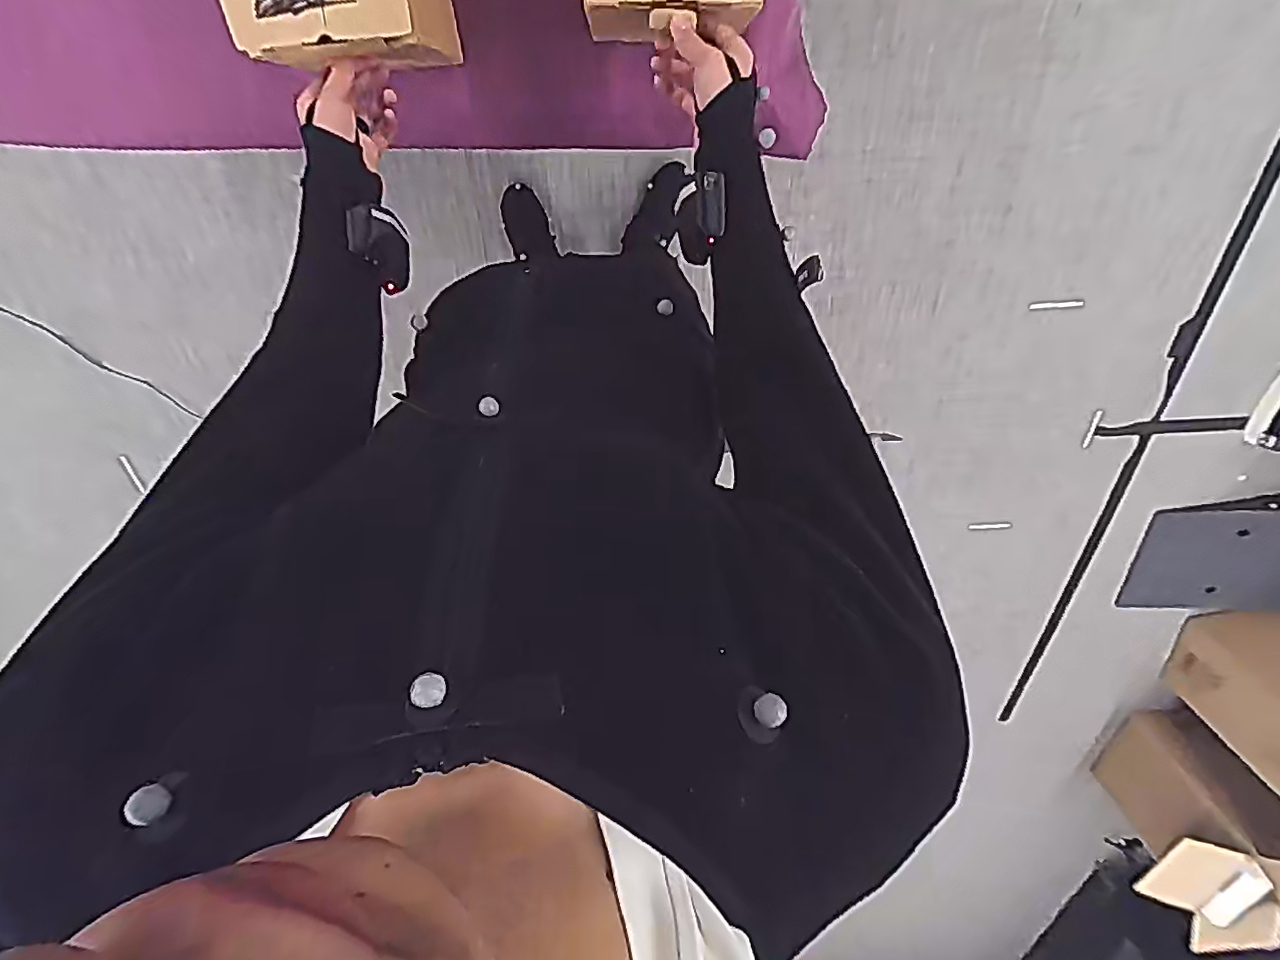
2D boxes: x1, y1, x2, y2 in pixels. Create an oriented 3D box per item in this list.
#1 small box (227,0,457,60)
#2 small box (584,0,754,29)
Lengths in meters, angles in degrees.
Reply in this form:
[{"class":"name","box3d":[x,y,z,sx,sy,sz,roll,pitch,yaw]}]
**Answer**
[{"class":"small box","box3d":[-0.291,-0.522,0.519,0.168,0.176,0.179,-4,121,0]},{"class":"small box","box3d":[0.029,-0.551,0.511,0.168,0.176,0.179,0,121,-2]}]
